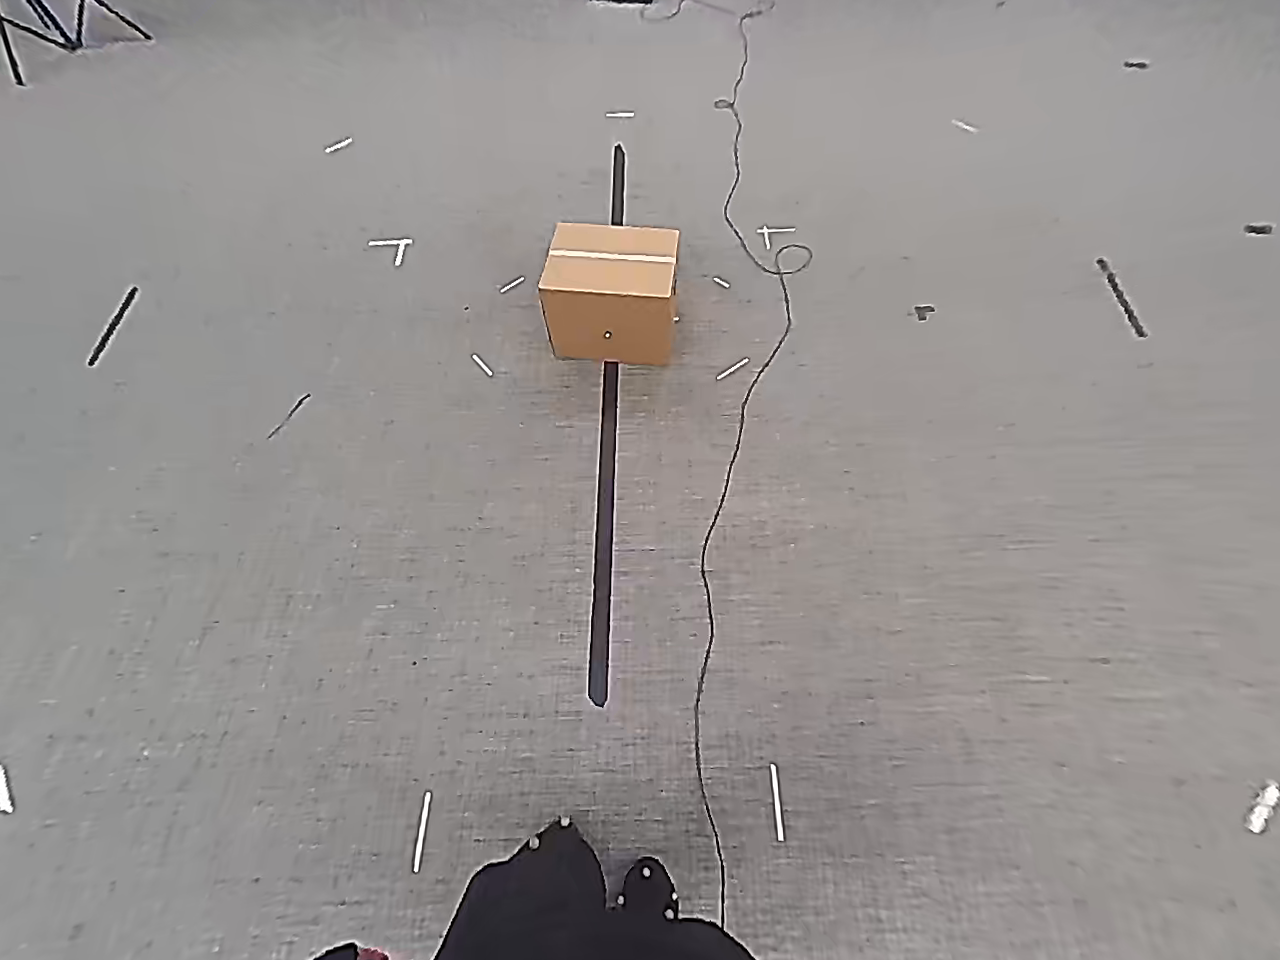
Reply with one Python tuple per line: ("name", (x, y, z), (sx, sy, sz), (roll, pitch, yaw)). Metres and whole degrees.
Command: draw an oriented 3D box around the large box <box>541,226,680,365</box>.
("large box", (-0.086, -0.609, 1.806), (0.408, 0.320, 0.320), (6, 62, 4))
